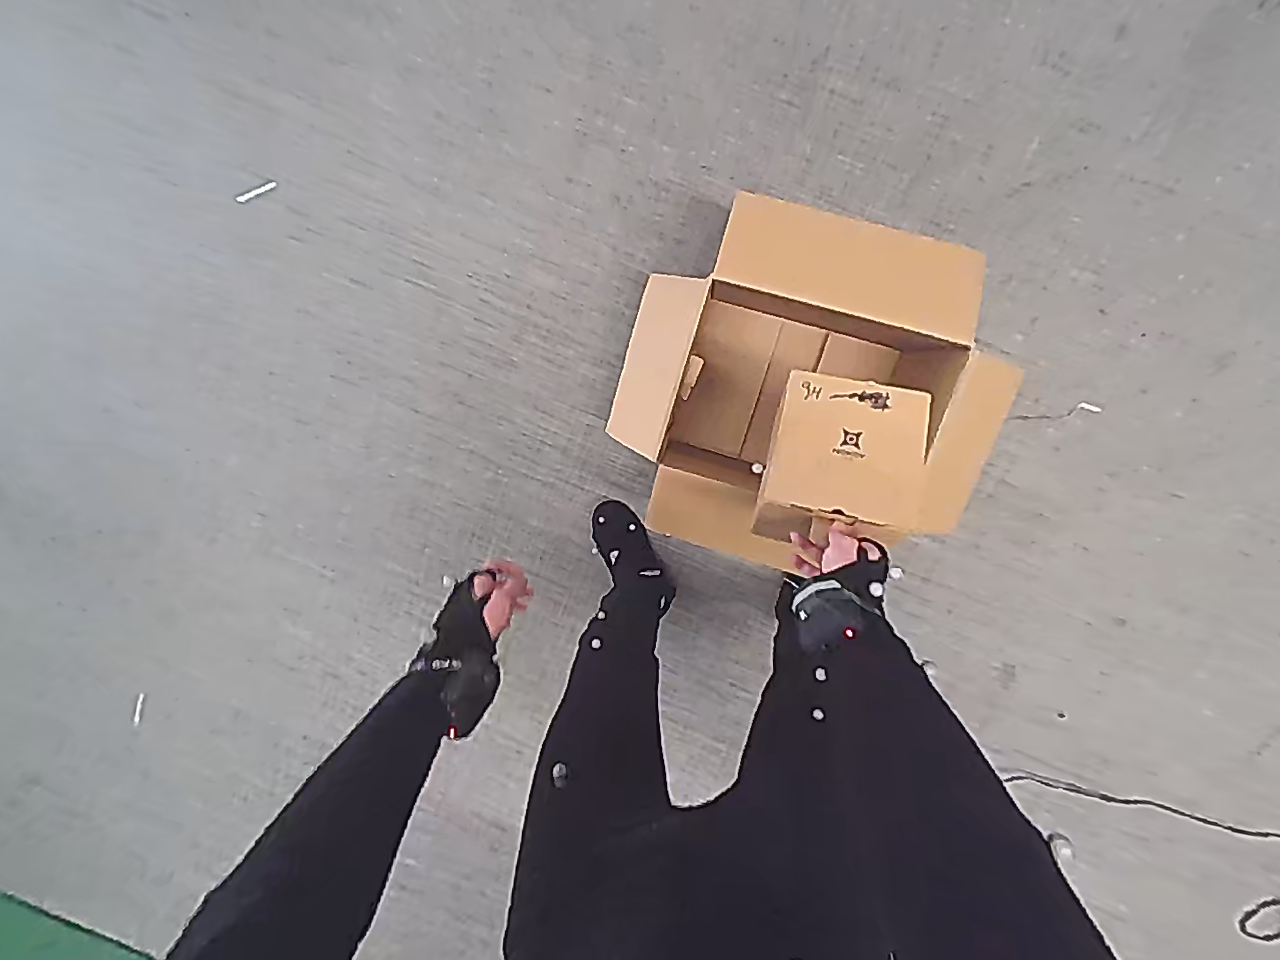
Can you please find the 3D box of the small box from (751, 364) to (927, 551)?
[{"bbox_3d":[0.246,-0.019,0.704,0.168,0.176,0.179,14,73,11],"label":"small box"}]
